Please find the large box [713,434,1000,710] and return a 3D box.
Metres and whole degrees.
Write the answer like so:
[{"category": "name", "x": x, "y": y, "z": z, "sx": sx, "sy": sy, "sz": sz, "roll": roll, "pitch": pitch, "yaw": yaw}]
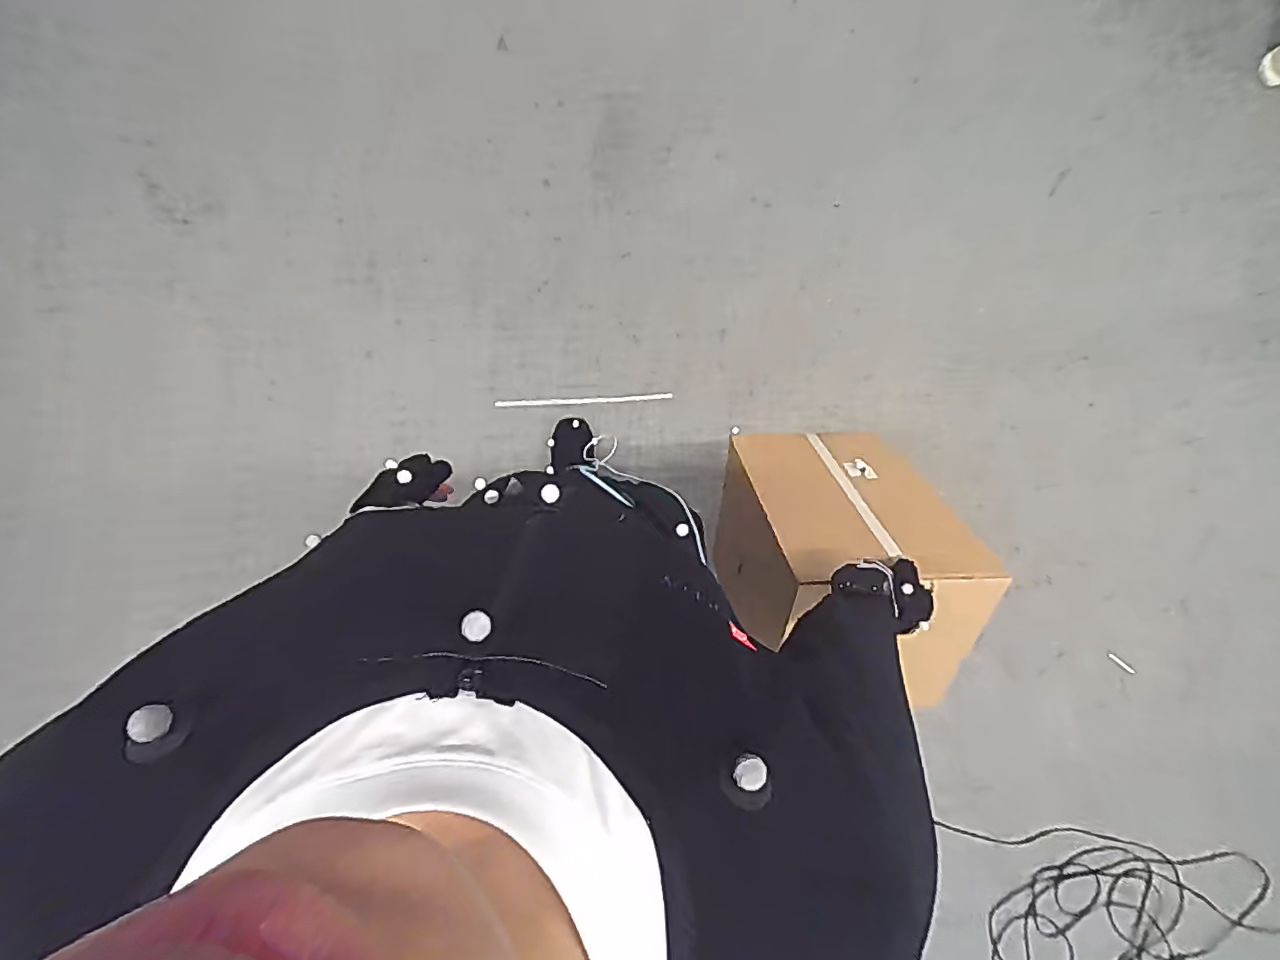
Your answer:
[{"category": "large box", "x": 0.338, "y": 0.149, "z": 0.994, "sx": 0.320, "sy": 0.408, "sz": 0.320, "roll": 0, "pitch": 124, "yaw": -6}]
